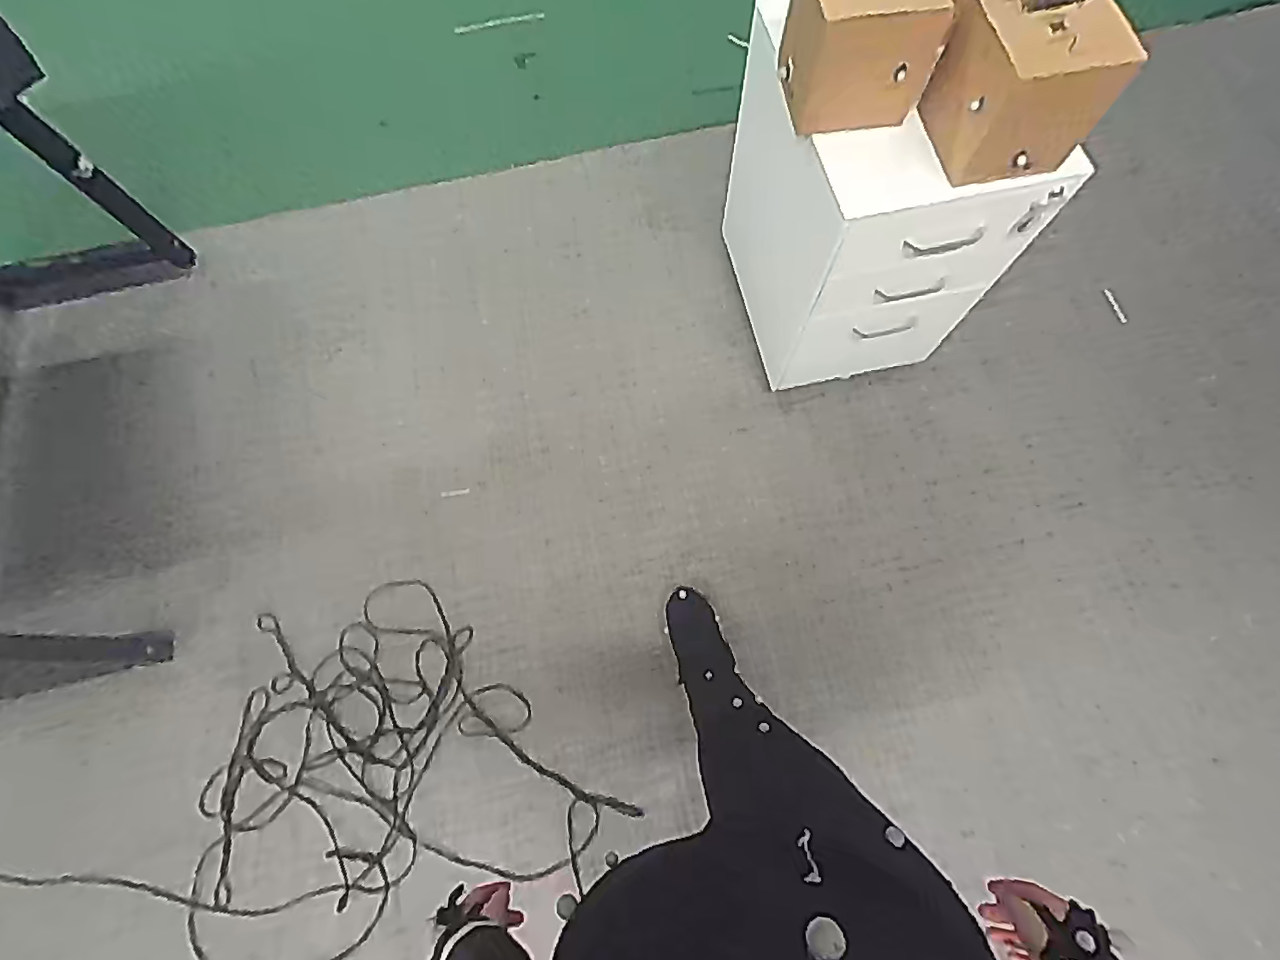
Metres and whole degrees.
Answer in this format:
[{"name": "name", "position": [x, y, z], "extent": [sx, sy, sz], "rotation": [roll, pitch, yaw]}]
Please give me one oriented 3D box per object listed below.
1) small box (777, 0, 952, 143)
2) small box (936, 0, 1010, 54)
[{"name": "small box", "position": [0.323, -0.648, 0.818], "extent": [0.179, 0.176, 0.168], "rotation": [-7, 70, -1]}, {"name": "small box", "position": [0.498, -0.828, 0.873], "extent": [0.179, 0.176, 0.168], "rotation": [-9, 72, 0]}]
